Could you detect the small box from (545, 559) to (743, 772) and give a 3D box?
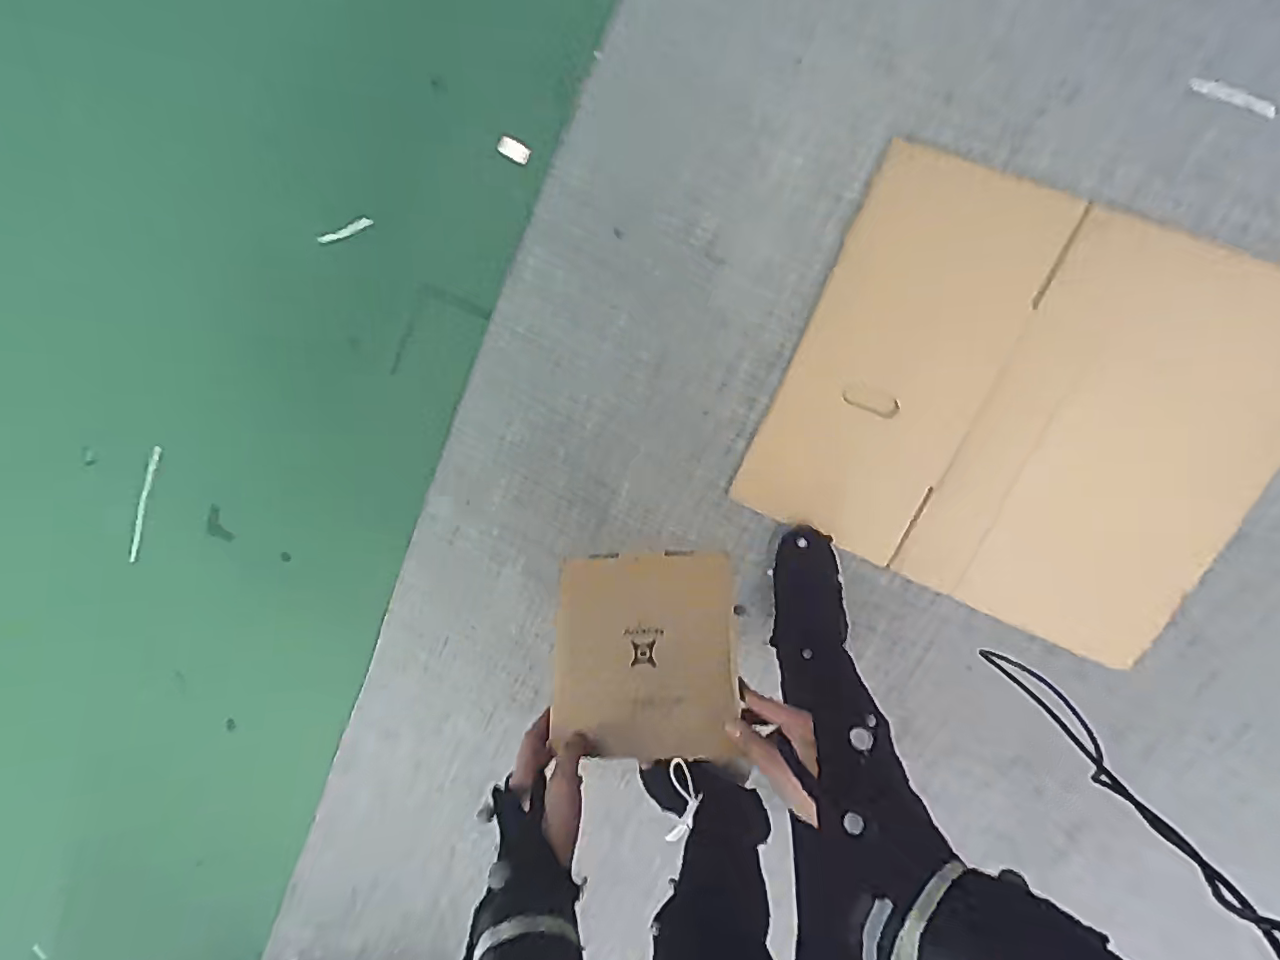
[{"bbox_3d":[0.011,0.190,0.546,0.168,0.176,0.179,-5,66,7],"label":"small box"}]
